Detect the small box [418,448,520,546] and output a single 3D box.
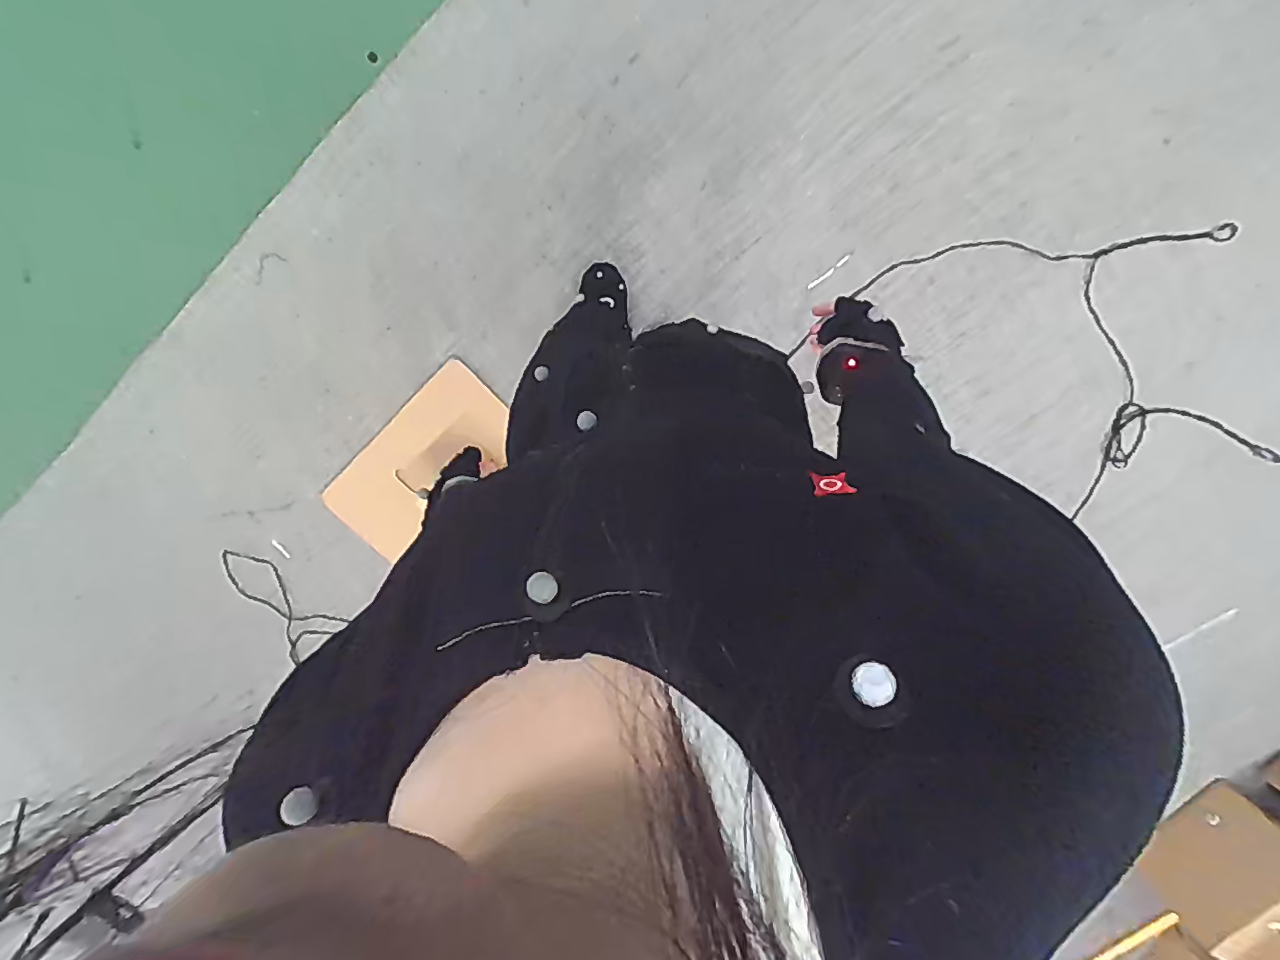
[{"bbox_3d":[-0.449,0.040,1.452,0.179,0.176,0.168,-42,102,13],"label":"small box"}]
